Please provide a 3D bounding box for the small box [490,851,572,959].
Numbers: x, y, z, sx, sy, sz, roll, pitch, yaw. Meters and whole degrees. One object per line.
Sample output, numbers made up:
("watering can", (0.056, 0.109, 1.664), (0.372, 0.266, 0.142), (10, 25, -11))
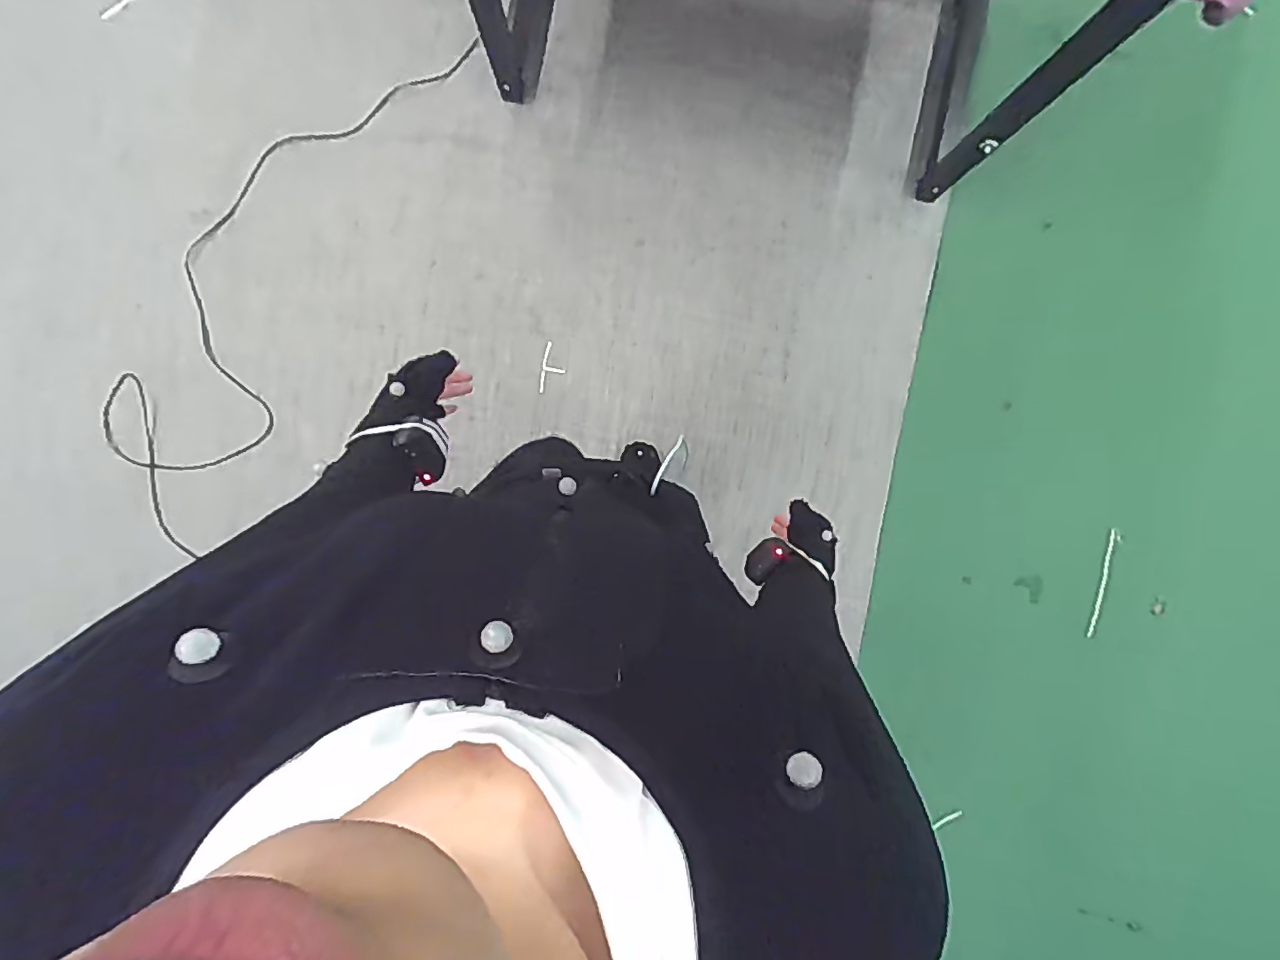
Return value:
("small box", (-0.274, 1.112, 1.397), (0.168, 0.176, 0.179), (11, 94, -3))
